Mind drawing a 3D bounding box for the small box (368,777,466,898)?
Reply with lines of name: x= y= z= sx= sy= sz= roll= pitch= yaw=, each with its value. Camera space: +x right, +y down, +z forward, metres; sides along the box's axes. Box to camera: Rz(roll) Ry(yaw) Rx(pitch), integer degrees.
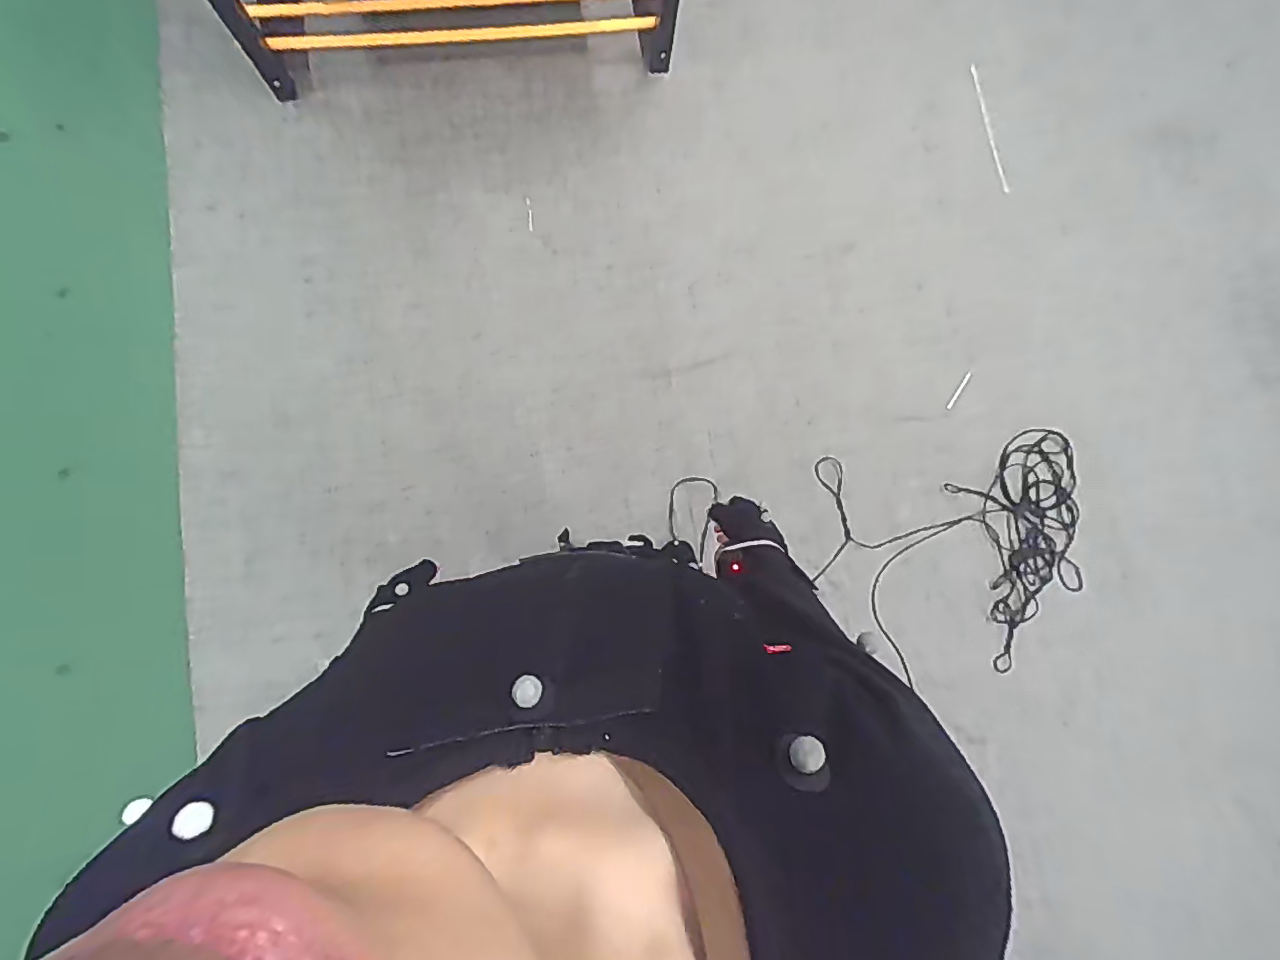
small box: x=-0.518 y=0.825 z=1.272 sx=0.168 sy=0.176 sz=0.179 roll=-9 pitch=83 yaw=-6
